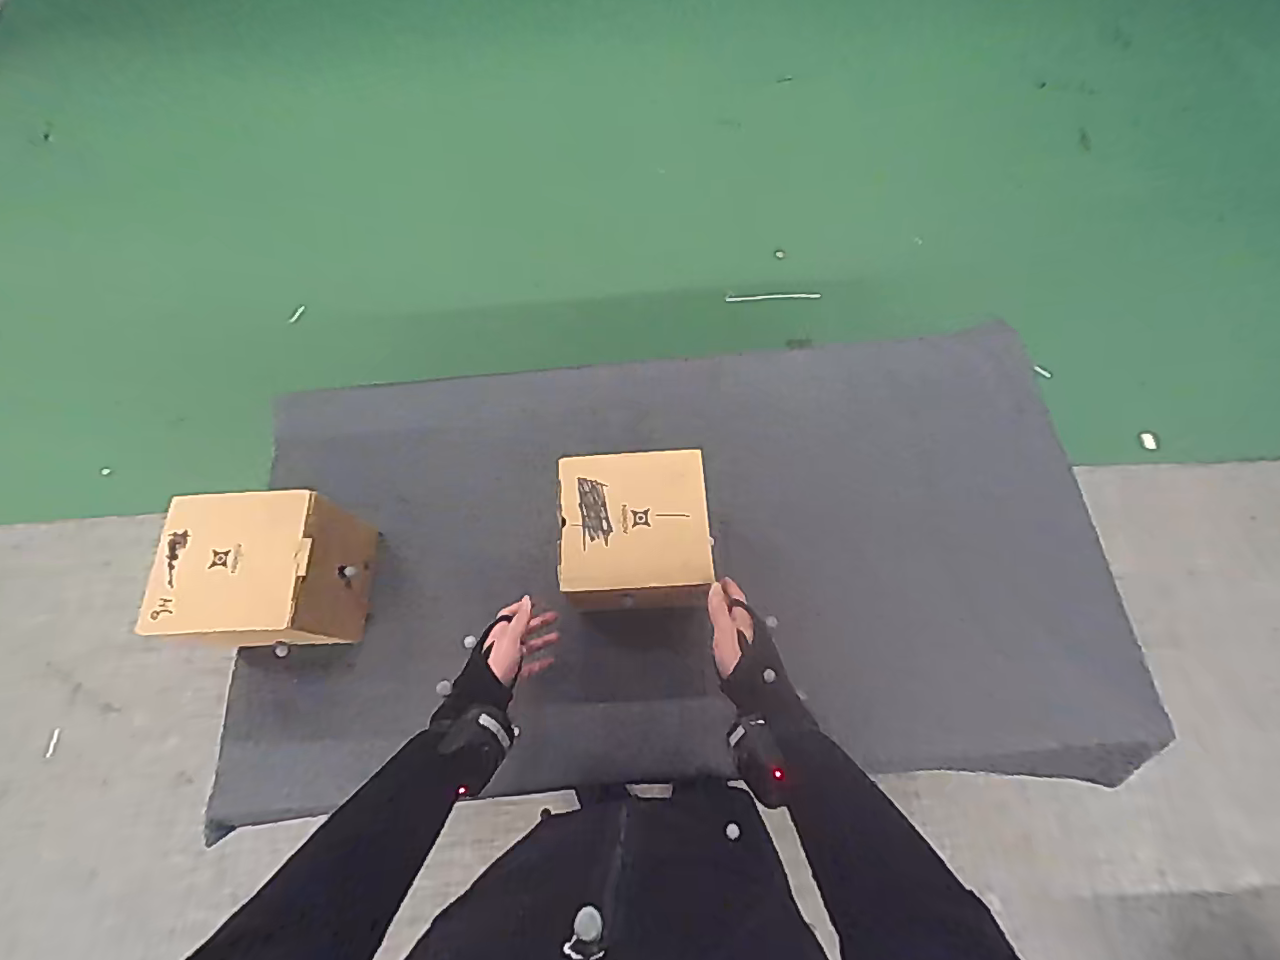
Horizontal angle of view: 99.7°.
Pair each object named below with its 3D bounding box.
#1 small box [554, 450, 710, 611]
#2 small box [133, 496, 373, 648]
[{"bbox_3d":[-0.009,0.073,0.698,0.179,0.176,0.168,-3,69,0],"label":"small box"},{"bbox_3d":[-0.474,0.124,0.697,0.179,0.176,0.168,-2,69,0],"label":"small box"}]
